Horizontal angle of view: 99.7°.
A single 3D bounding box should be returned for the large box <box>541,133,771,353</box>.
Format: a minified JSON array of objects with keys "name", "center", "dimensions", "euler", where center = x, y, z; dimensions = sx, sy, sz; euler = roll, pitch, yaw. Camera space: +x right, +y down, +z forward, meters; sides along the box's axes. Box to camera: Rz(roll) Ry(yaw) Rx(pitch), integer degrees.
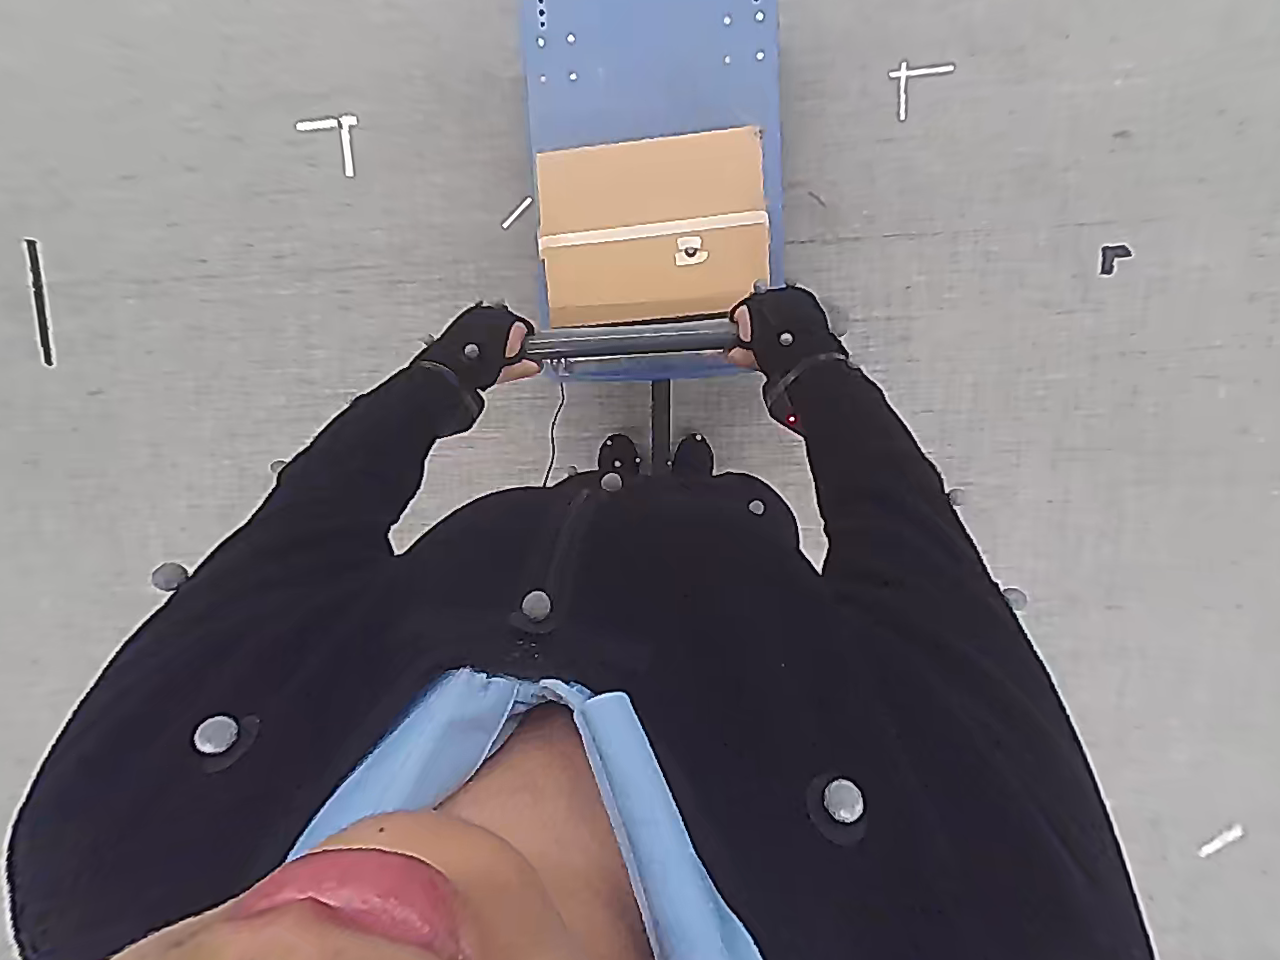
[{"name":"large box","center":[0.038,-0.462,1.136],"dimensions":[0.408,0.320,0.320],"euler":[-5,96,5]}]
